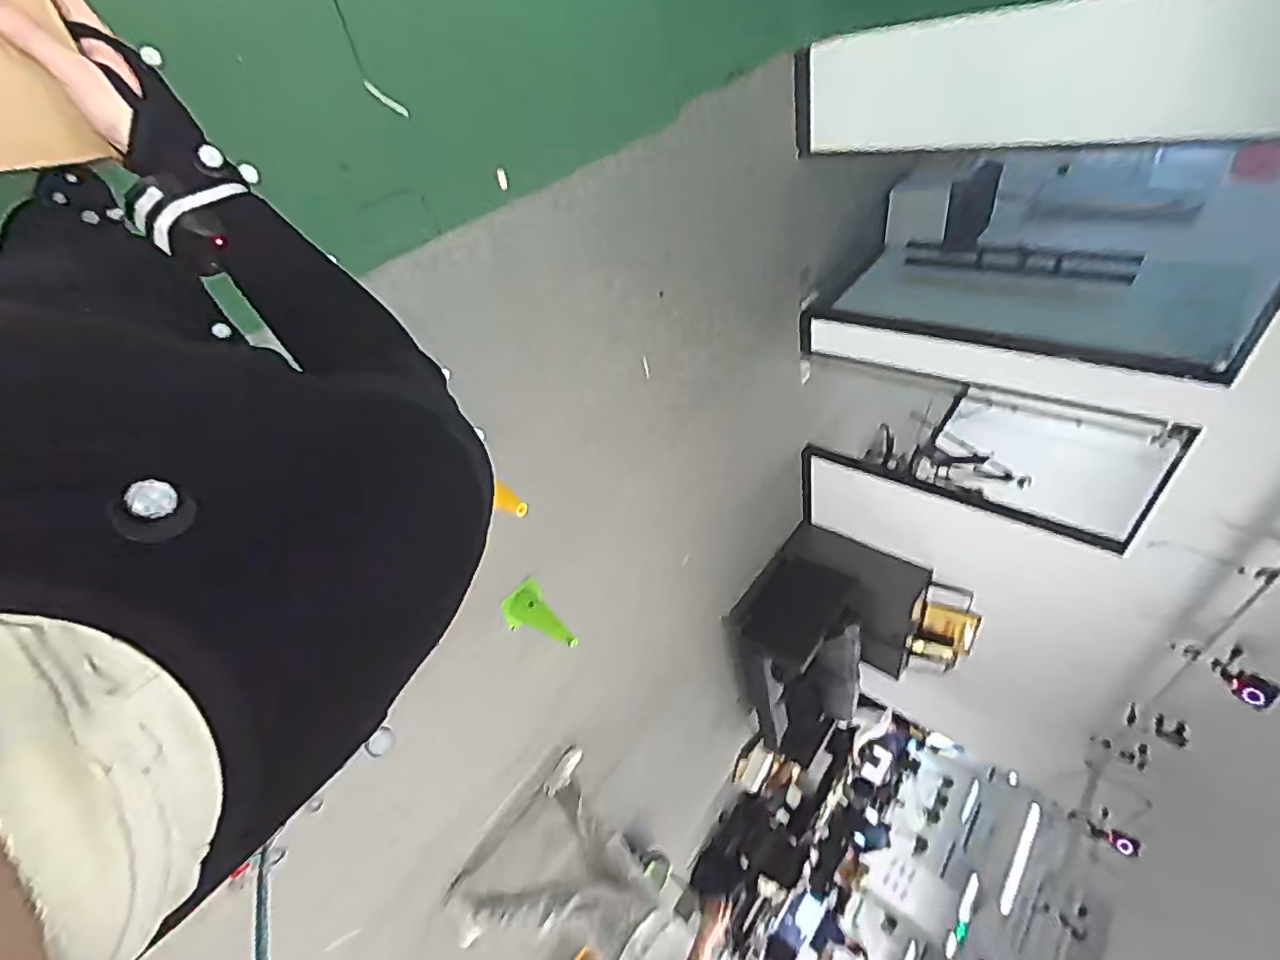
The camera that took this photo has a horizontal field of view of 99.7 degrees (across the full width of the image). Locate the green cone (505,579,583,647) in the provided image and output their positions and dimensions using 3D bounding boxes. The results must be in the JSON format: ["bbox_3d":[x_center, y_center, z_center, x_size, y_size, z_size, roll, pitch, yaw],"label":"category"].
[{"bbox_3d":[-0.379,0.619,2.337,0.200,0.368,0.202,-40,135,-32],"label":"green cone"}]
